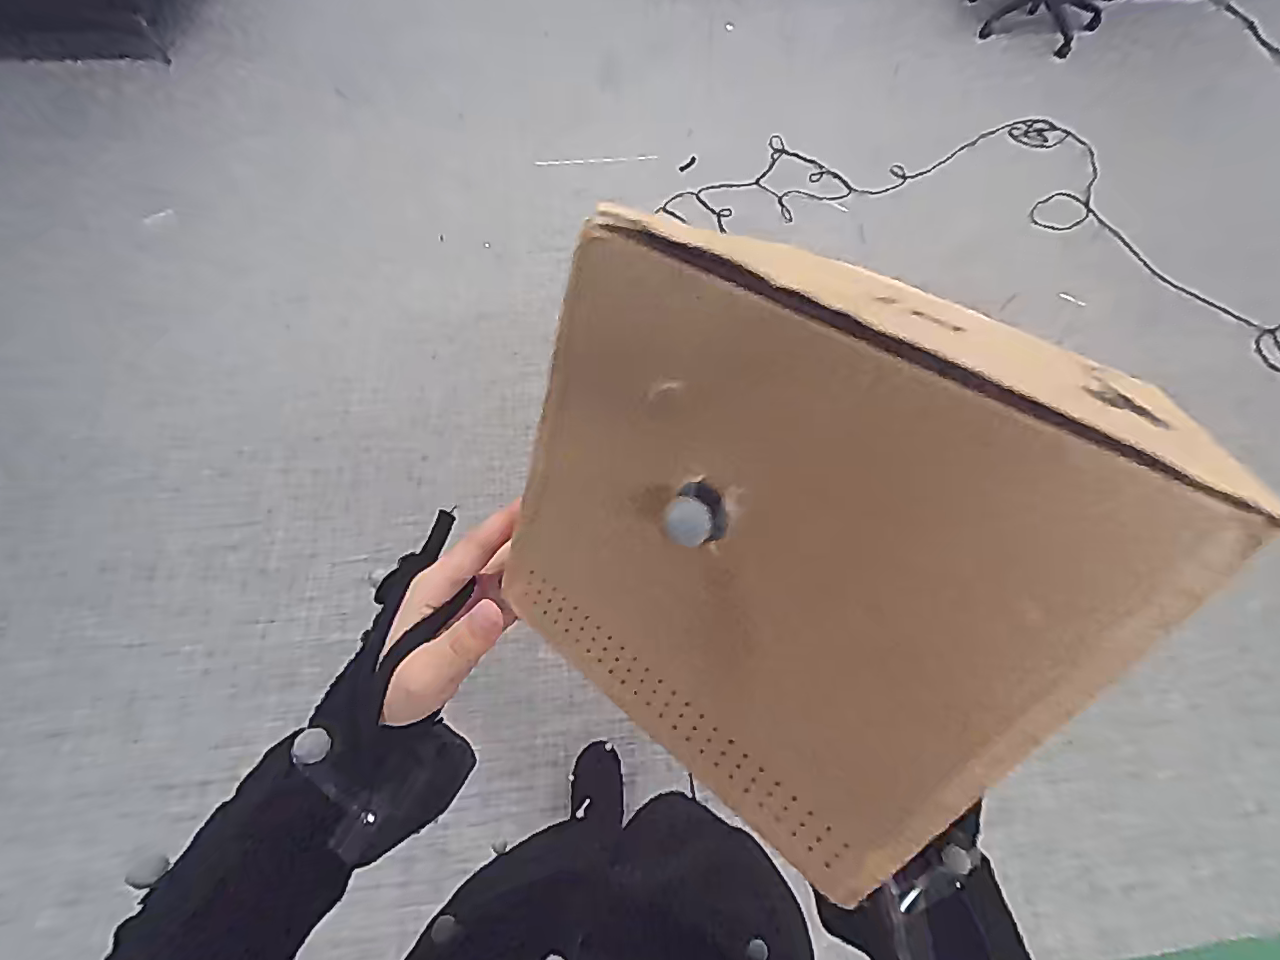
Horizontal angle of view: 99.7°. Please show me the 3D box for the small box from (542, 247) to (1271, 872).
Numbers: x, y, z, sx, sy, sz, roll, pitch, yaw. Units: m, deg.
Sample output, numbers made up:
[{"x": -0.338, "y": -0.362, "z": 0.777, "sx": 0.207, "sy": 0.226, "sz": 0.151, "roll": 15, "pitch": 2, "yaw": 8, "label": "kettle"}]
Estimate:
[{"x": 0.080, "y": 0.015, "z": 0.239, "sx": 0.179, "sy": 0.176, "sz": 0.168, "roll": 33, "pitch": 33, "yaw": 23, "label": "small box"}]
